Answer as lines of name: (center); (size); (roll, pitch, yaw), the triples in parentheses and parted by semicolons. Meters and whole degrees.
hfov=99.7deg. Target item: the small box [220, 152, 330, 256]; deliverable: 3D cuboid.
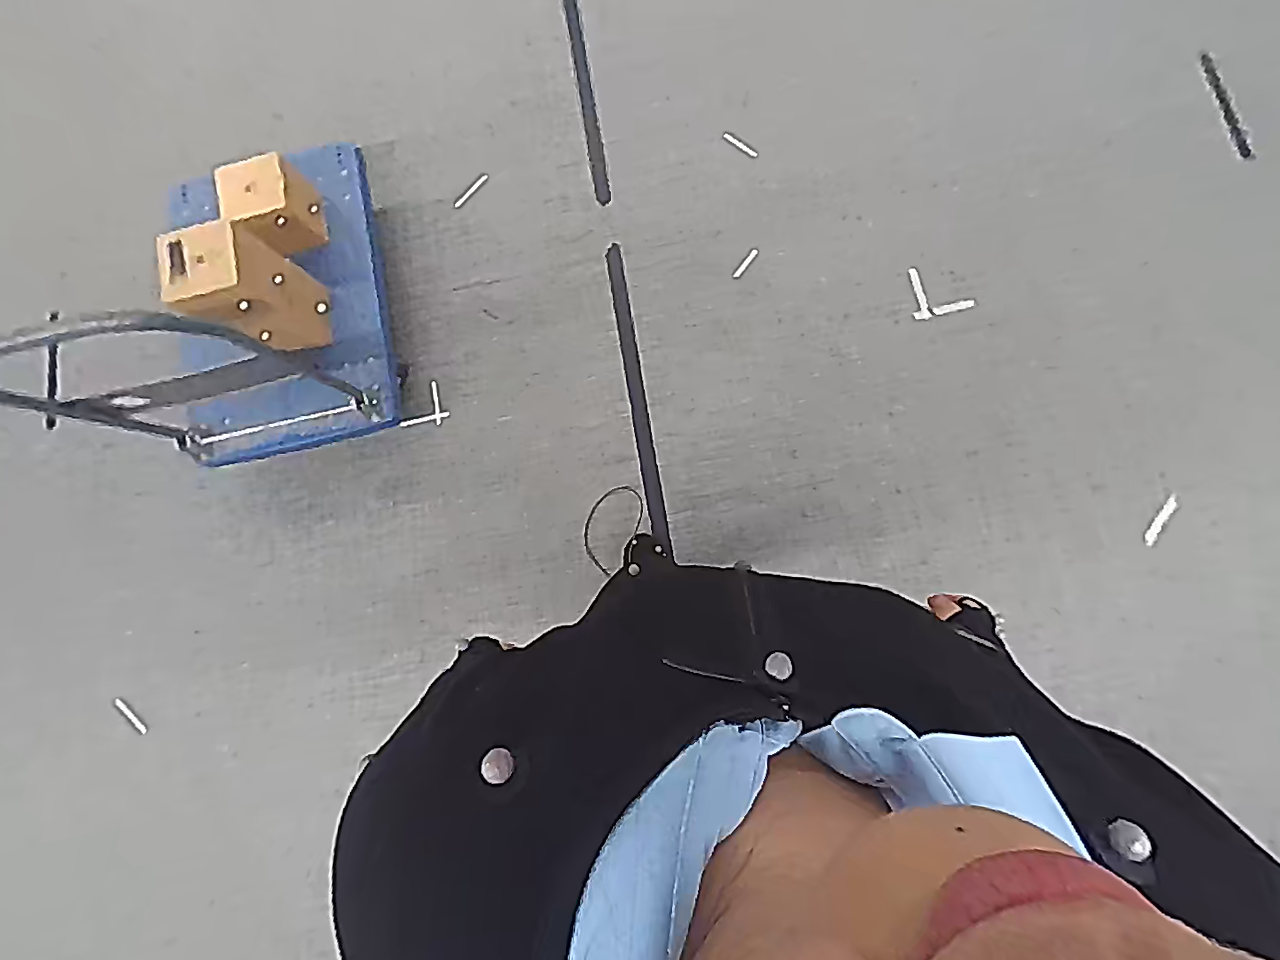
small box: (-0.979, -0.736, 1.461); (0.179, 0.176, 0.168); (-15, 81, 2)

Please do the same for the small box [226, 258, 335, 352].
small box: (-0.934, -0.448, 1.413); (0.179, 0.176, 0.168); (-8, 82, 3)
